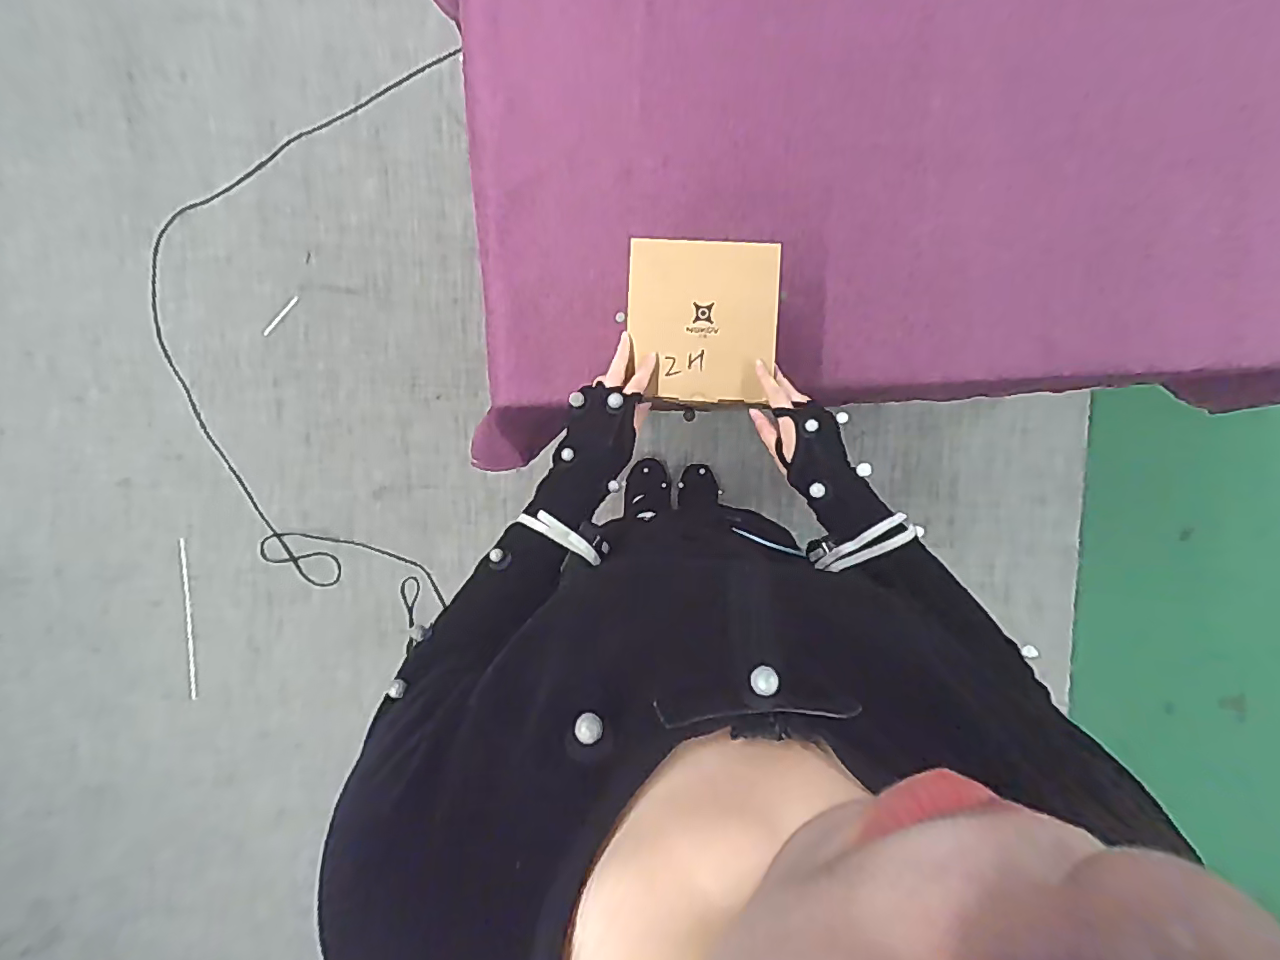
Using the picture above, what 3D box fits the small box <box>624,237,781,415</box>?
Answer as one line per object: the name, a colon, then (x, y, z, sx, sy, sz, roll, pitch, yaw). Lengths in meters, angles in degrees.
small box: (0.069, -0.178, 0.670, 0.168, 0.176, 0.179, 2, 93, 2)
